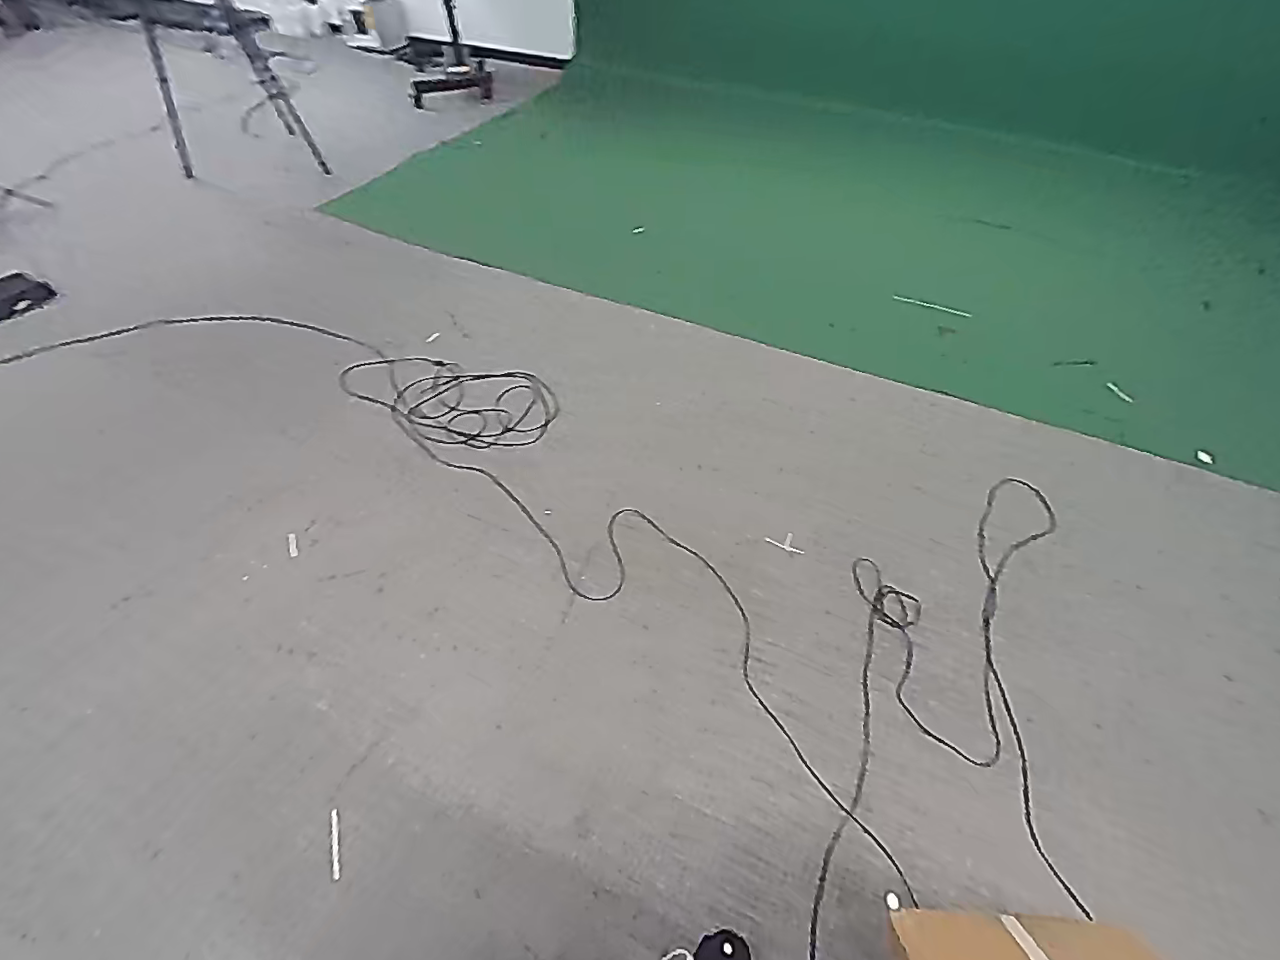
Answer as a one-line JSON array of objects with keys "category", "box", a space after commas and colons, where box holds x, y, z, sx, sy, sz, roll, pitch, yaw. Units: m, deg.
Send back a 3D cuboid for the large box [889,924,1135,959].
[{"category": "large box", "box": [0.485, 0.765, 0.546, 0.320, 0.408, 0.320, 1, 85, 7]}]
